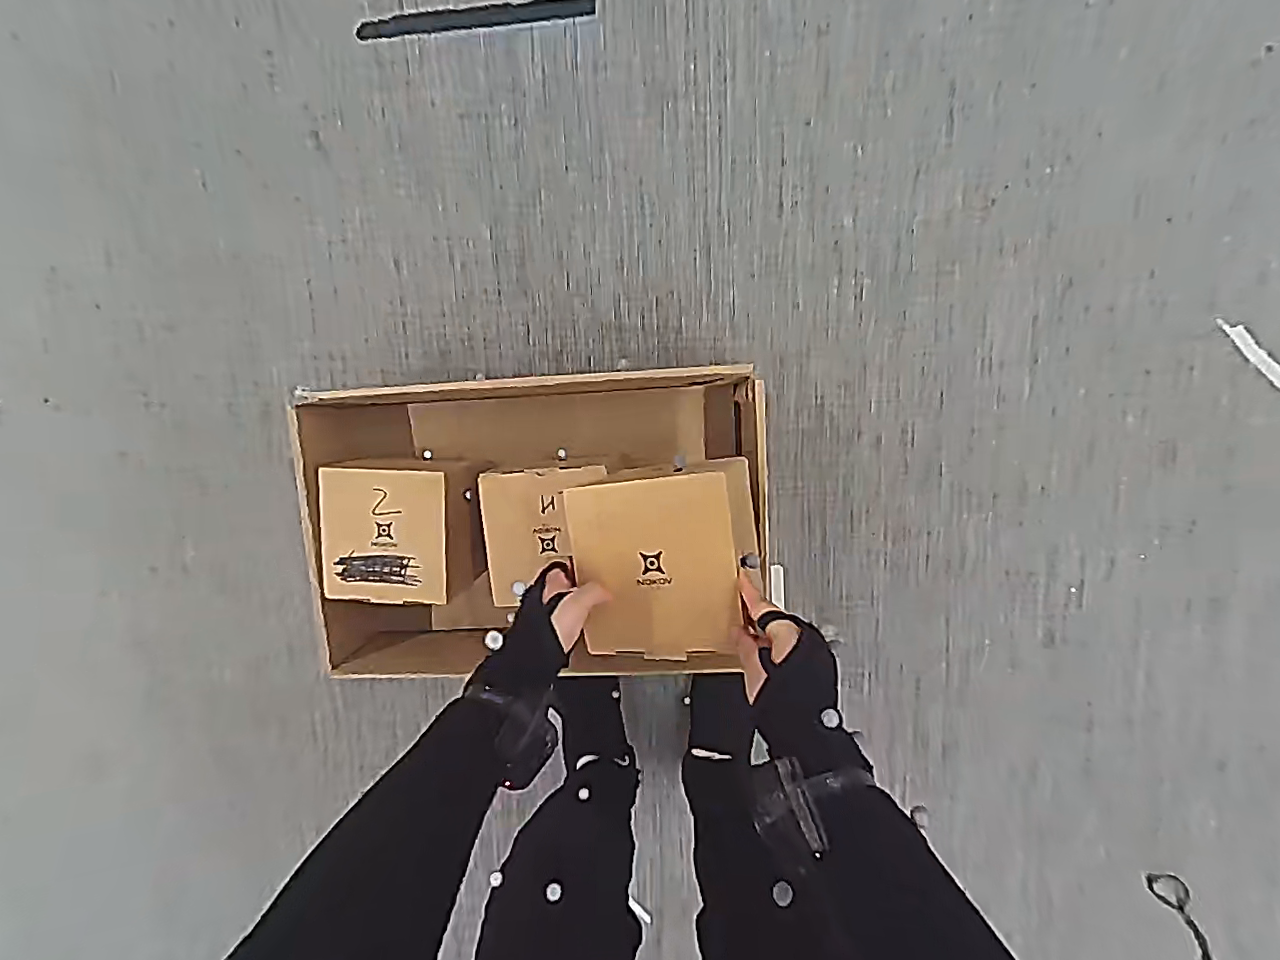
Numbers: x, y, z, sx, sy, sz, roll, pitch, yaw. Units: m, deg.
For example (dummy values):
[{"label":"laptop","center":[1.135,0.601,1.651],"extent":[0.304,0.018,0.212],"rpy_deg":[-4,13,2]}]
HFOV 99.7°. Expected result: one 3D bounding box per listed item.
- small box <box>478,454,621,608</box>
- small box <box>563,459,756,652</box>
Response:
[{"label":"small box","center":[-0.108,0.063,0.757],"extent":[0.168,0.176,0.179],"rpy_deg":[-5,97,5]},{"label":"small box","center":[0.033,0.073,0.597],"extent":[0.168,0.176,0.179],"rpy_deg":[-6,97,18]}]
